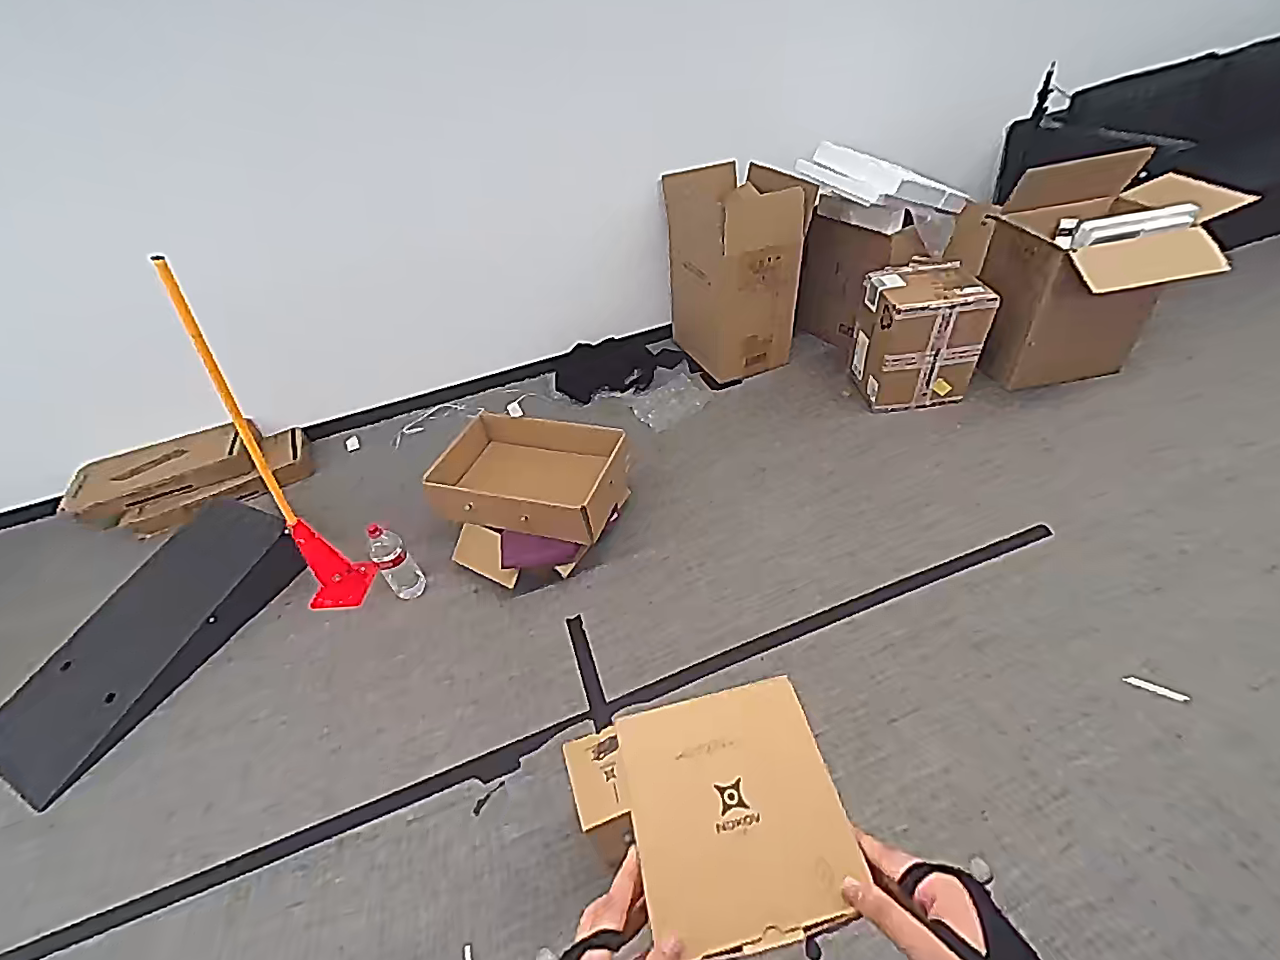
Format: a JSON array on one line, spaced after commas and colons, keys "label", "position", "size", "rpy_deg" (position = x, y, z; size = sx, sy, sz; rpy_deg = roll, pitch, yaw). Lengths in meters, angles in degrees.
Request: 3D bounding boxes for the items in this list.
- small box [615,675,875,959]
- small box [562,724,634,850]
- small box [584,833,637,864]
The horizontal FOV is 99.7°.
[{"label": "small box", "position": [0.080, 0.310, 0.492], "size": [0.168, 0.176, 0.179], "rpy_deg": [-12, 46, -6]}, {"label": "small box", "position": [-0.059, 0.659, 1.170], "size": [0.168, 0.176, 0.179], "rpy_deg": [-18, 44, -10]}, {"label": "small box", "position": [-0.047, 0.775, 1.285], "size": [0.179, 0.176, 0.168], "rpy_deg": [-17, 44, -10]}]
